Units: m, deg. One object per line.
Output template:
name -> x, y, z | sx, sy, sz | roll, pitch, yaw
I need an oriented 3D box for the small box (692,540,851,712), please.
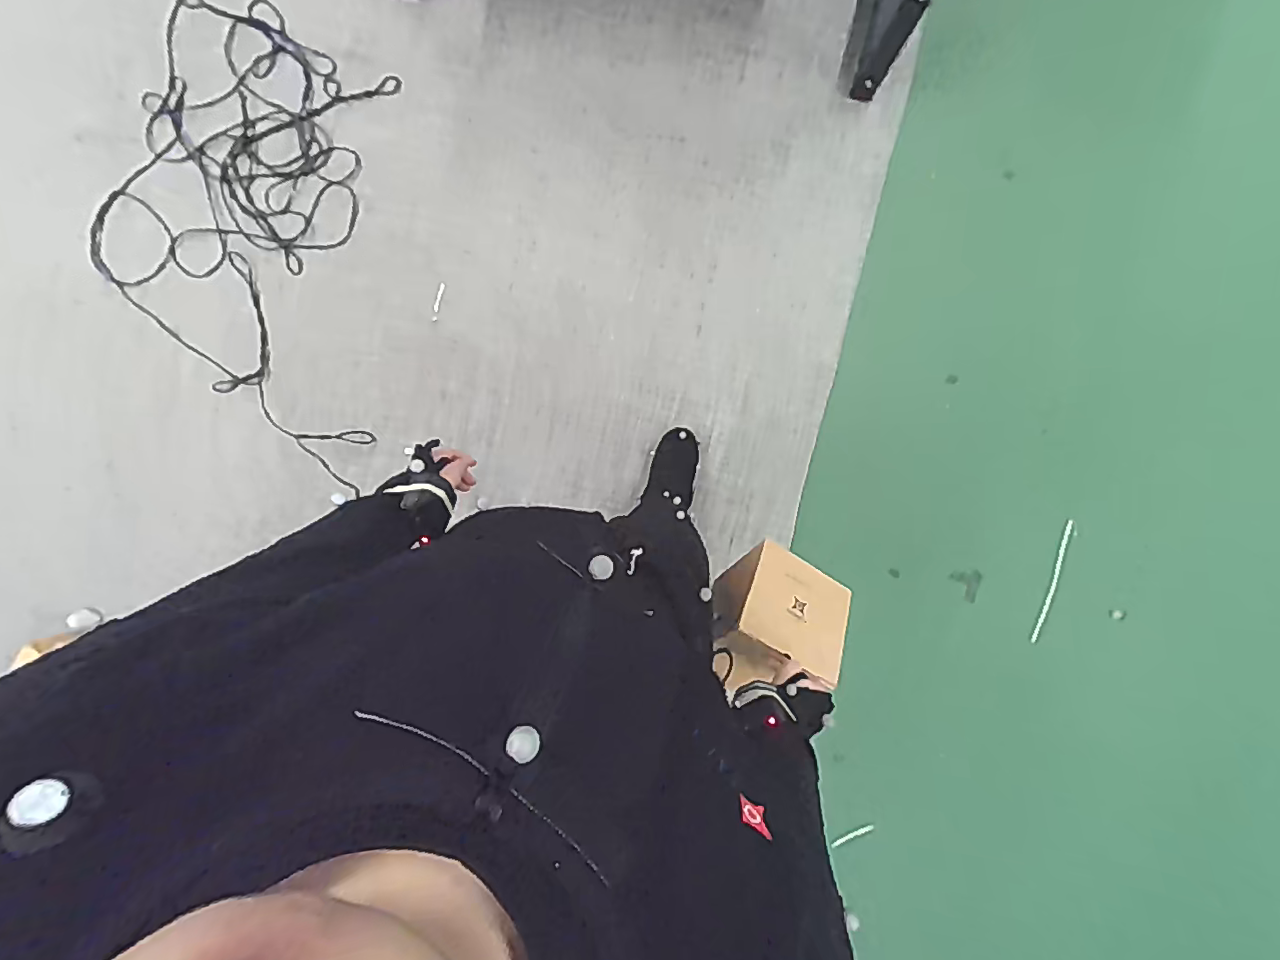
small box -> 0.201, 0.234, 0.849 | 0.168, 0.179, 0.176 | 32, 138, -3
